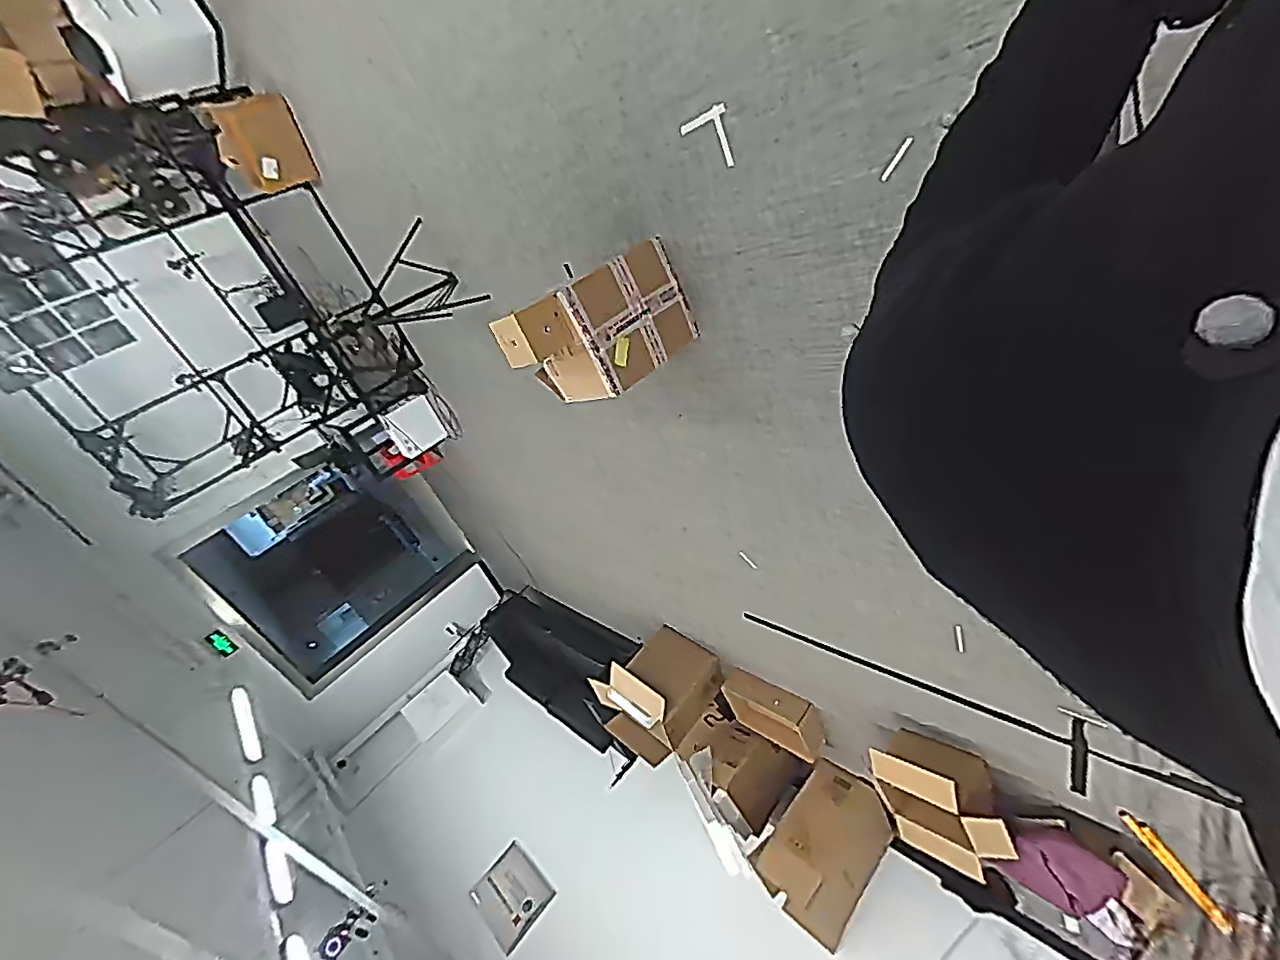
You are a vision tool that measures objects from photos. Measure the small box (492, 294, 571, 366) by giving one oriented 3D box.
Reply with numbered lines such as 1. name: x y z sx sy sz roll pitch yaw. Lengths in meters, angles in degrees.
1. small box: -0.352 -0.499 1.796 0.179 0.176 0.168 5 127 49
